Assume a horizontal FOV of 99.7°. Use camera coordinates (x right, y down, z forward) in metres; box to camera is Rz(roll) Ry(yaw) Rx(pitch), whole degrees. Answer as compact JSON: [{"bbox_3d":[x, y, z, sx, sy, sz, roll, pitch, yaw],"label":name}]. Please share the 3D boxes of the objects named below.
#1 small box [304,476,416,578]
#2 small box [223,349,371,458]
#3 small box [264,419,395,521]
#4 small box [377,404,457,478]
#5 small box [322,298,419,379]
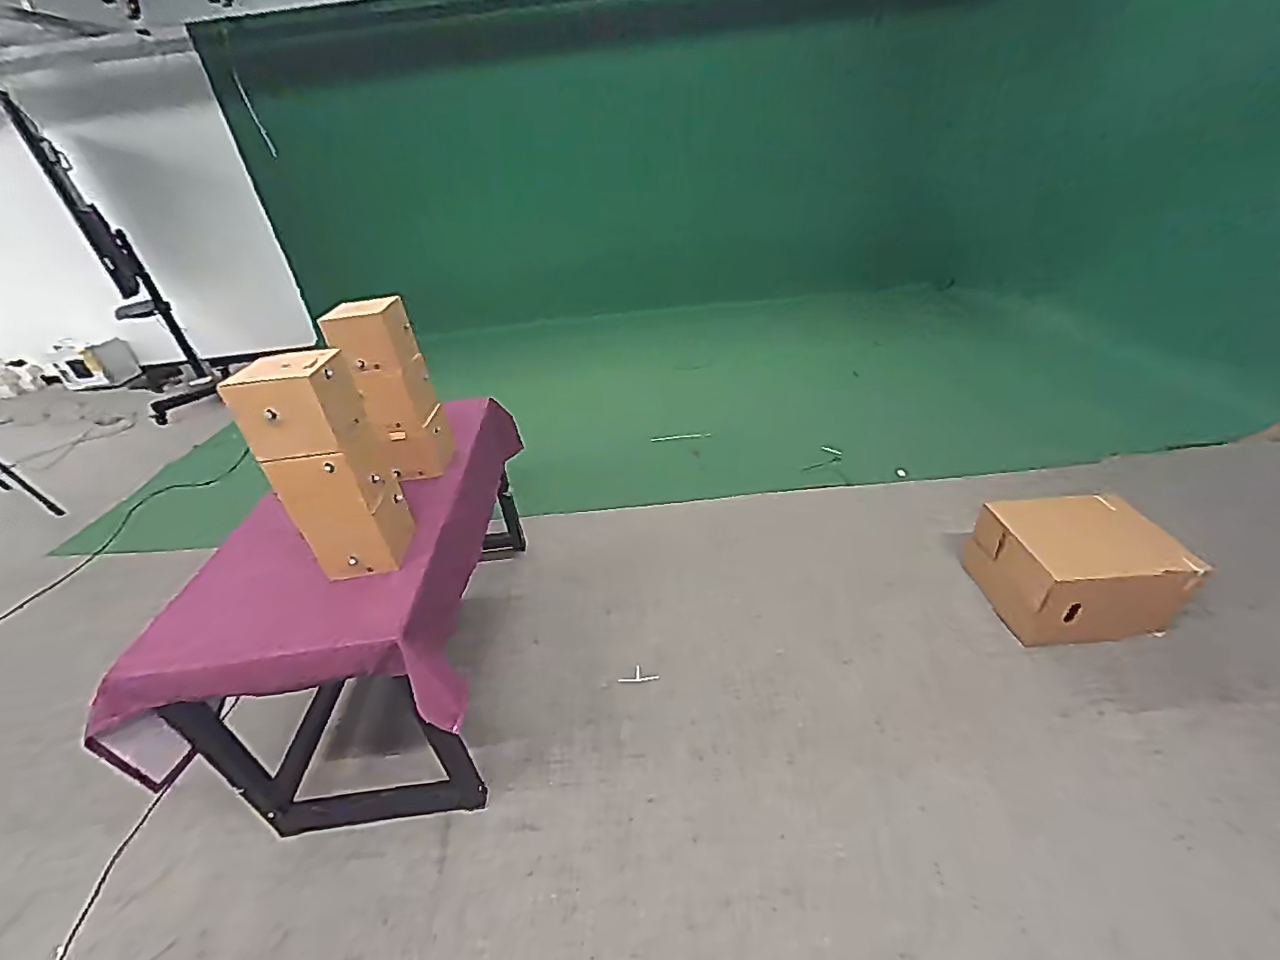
[{"bbox_3d":[-0.666,0.113,1.314,0.168,0.176,0.179,-8,33,0],"label":"small box"},{"bbox_3d":[-0.705,-0.158,1.134,0.179,0.176,0.168,-8,33,0],"label":"small box"},{"bbox_3d":[-0.689,-0.020,1.223,0.179,0.176,0.168,-7,33,-1],"label":"small box"},{"bbox_3d":[-0.684,-0.116,1.670,0.168,0.176,0.179,-6,33,1],"label":"small box"},{"bbox_3d":[-0.736,-0.394,1.502,0.168,0.176,0.179,-8,33,0],"label":"small box"}]
